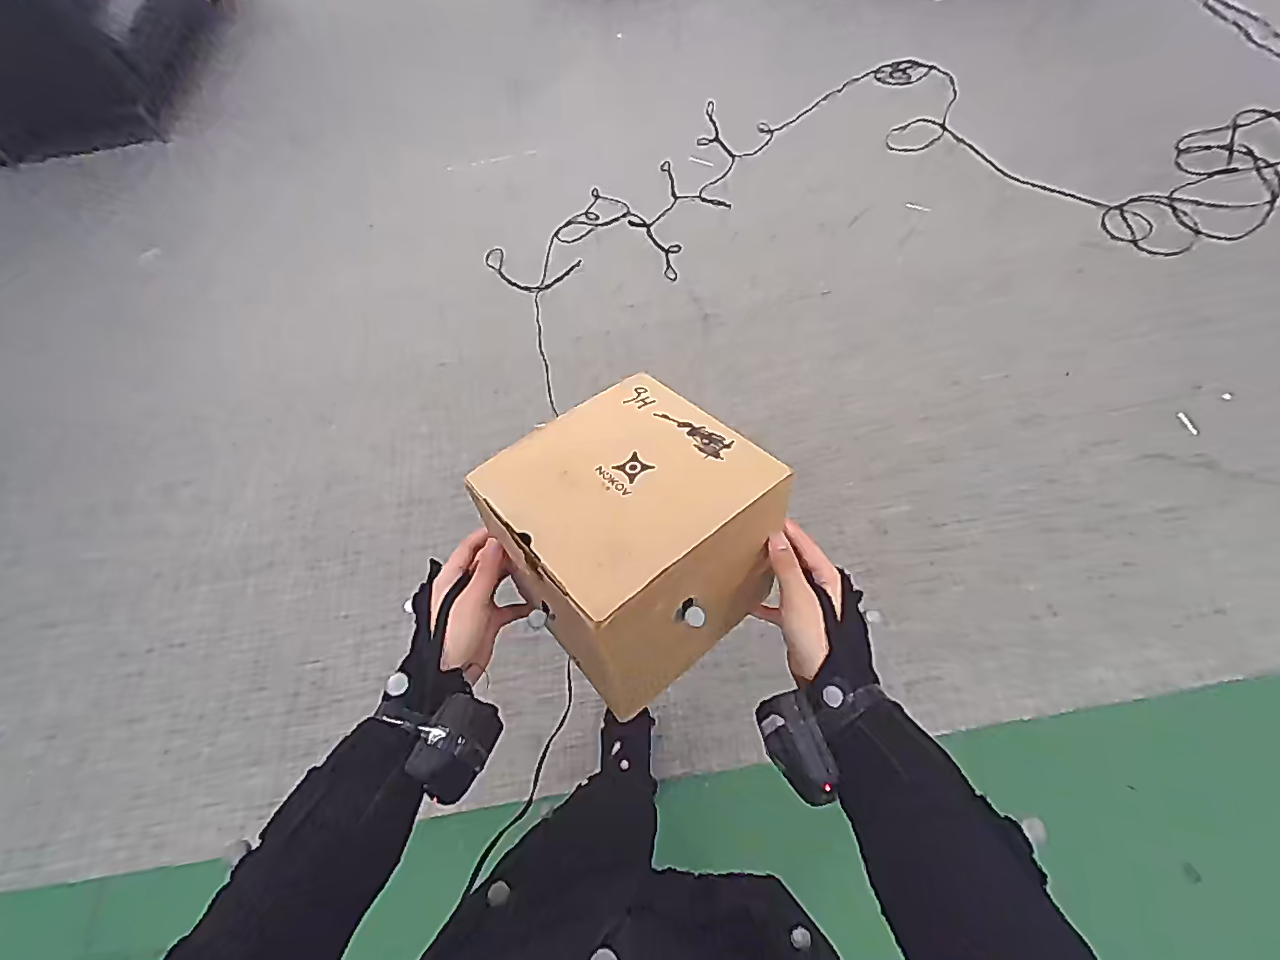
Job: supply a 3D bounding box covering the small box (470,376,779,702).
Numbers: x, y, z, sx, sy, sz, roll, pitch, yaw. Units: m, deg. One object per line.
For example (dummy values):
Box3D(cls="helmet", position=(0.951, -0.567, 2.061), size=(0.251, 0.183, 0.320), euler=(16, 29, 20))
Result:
Box3D(cls="small box", position=(-0.007, 0.050, 0.455), size=(0.179, 0.176, 0.168), euler=(-34, 54, -22))
